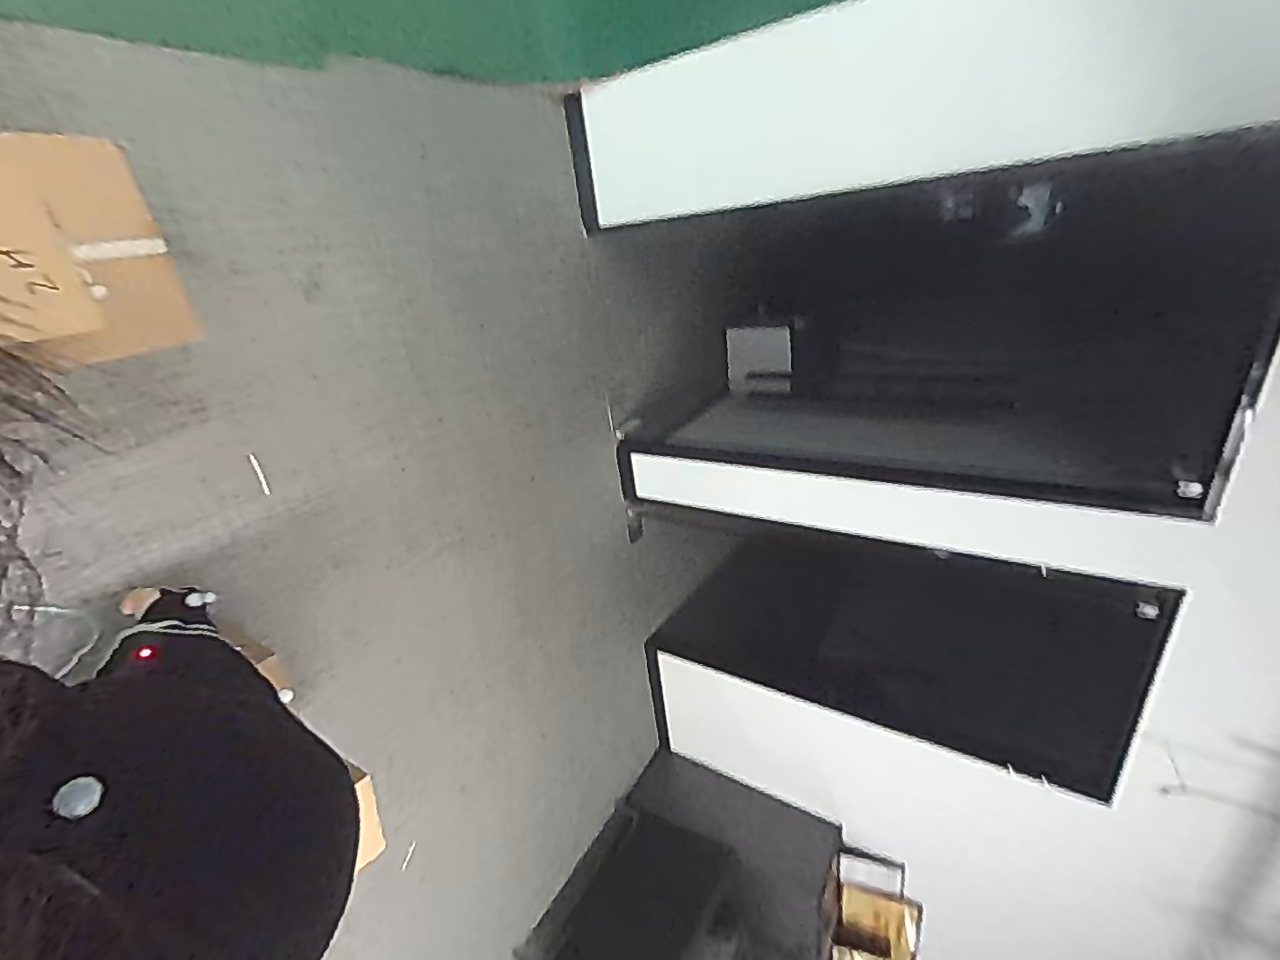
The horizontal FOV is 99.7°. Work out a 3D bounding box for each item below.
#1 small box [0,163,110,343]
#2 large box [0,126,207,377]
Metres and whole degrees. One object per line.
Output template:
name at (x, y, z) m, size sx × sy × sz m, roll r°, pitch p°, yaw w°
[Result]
small box at (-0.718, -0.224, 0.557) m, size 0.179 × 0.176 × 0.168 m, roll -37°, pitch 128°, yaw -49°
large box at (-1.017, -0.332, 0.829) m, size 0.408 × 0.320 × 0.320 m, roll -39°, pitch 130°, yaw -48°
